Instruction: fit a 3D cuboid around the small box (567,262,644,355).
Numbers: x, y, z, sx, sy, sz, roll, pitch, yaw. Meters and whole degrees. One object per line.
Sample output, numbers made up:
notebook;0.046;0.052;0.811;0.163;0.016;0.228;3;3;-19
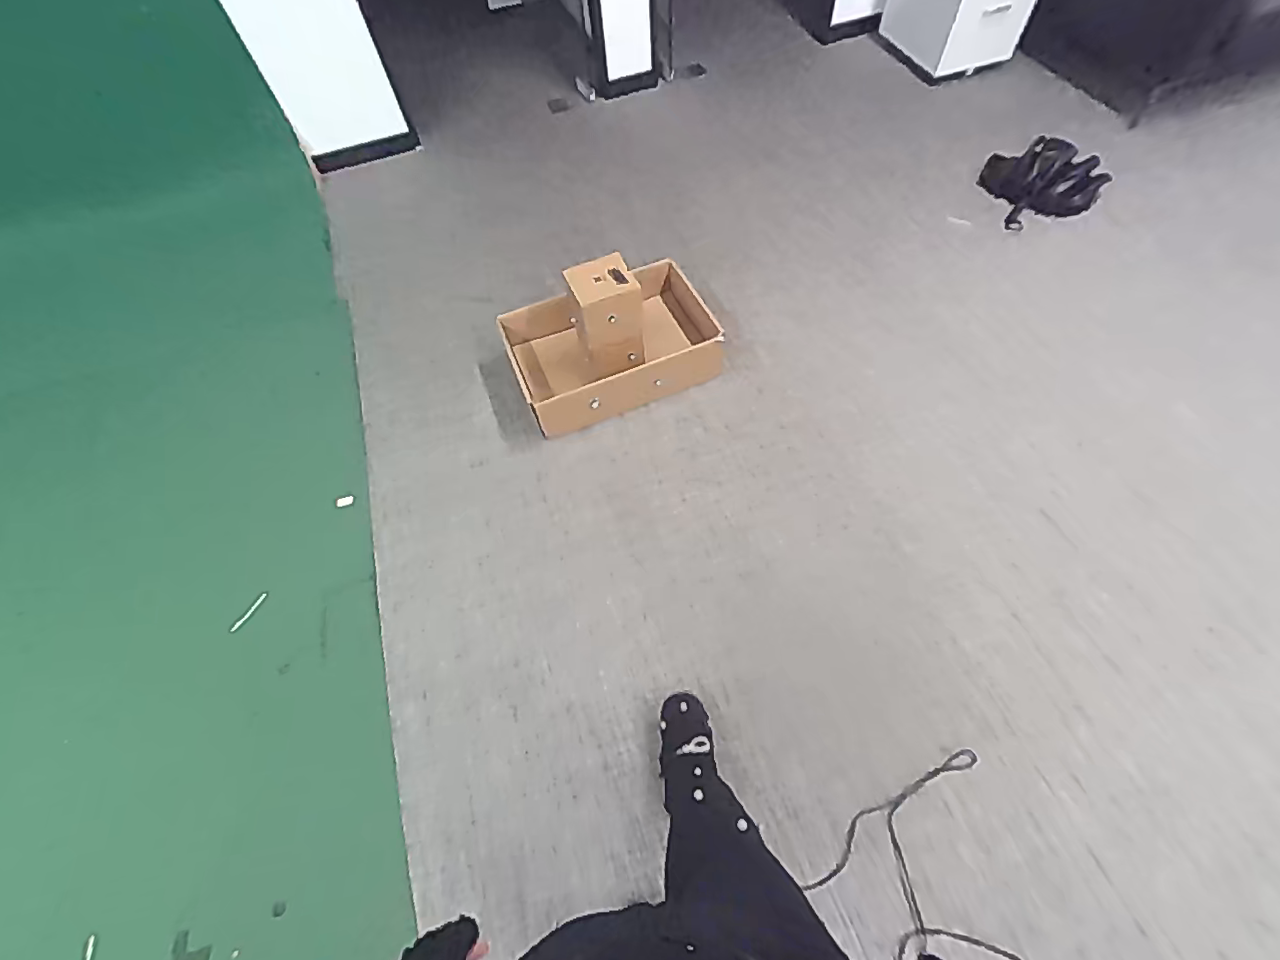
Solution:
small box;-0.095;-0.497;1.577;0.179;0.176;0.168;-21;60;-8

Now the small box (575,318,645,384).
small box;-0.090;-0.425;1.706;0.168;0.176;0.179;-22;59;-9
